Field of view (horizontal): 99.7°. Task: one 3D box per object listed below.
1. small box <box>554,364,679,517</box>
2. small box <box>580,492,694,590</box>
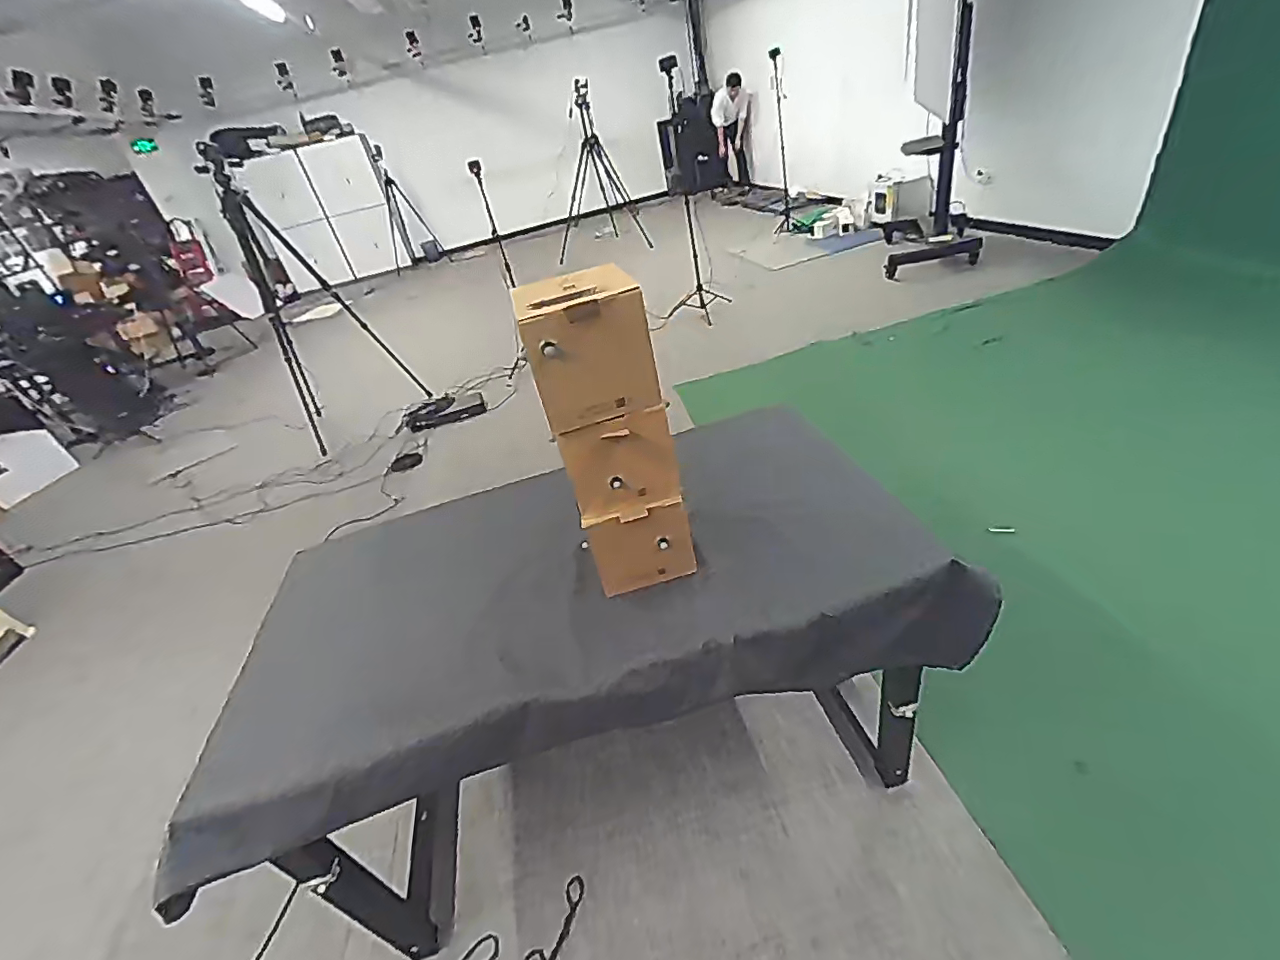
[{"bbox_3d":[-0.040,-0.066,0.885,0.168,0.176,0.179,-14,35,-2],"label":"small box"},{"bbox_3d":[-0.009,0.074,0.961,0.168,0.176,0.179,-15,33,-3],"label":"small box"}]
